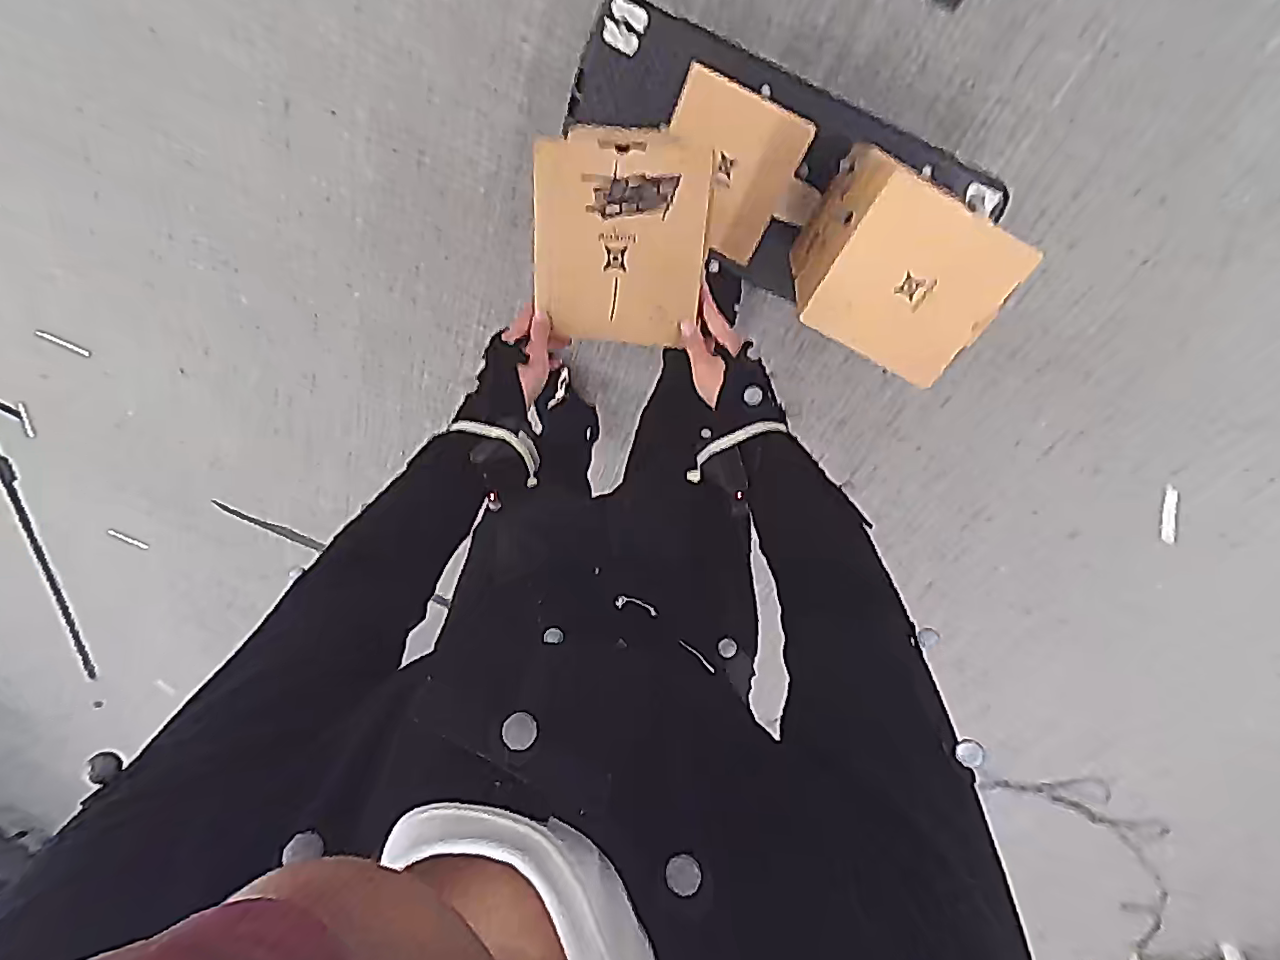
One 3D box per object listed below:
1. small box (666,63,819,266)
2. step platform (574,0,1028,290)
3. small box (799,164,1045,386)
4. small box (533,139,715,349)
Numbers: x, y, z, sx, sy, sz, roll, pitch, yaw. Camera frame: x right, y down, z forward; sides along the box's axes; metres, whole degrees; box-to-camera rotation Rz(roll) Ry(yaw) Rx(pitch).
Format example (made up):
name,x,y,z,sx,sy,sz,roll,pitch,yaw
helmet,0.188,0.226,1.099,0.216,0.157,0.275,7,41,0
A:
name,x,y,z,sx,sy,sz,roll,pitch,yaw
small box,0.122,-0.432,0.749,0.168,0.176,0.179,26,125,-4
step platform,0.238,-0.503,0.886,0.684,0.204,0.286,25,124,-2
small box,0.302,-0.244,0.631,0.179,0.176,0.168,27,125,-5
small box,-0.012,-0.245,0.585,0.168,0.176,0.179,6,111,6
